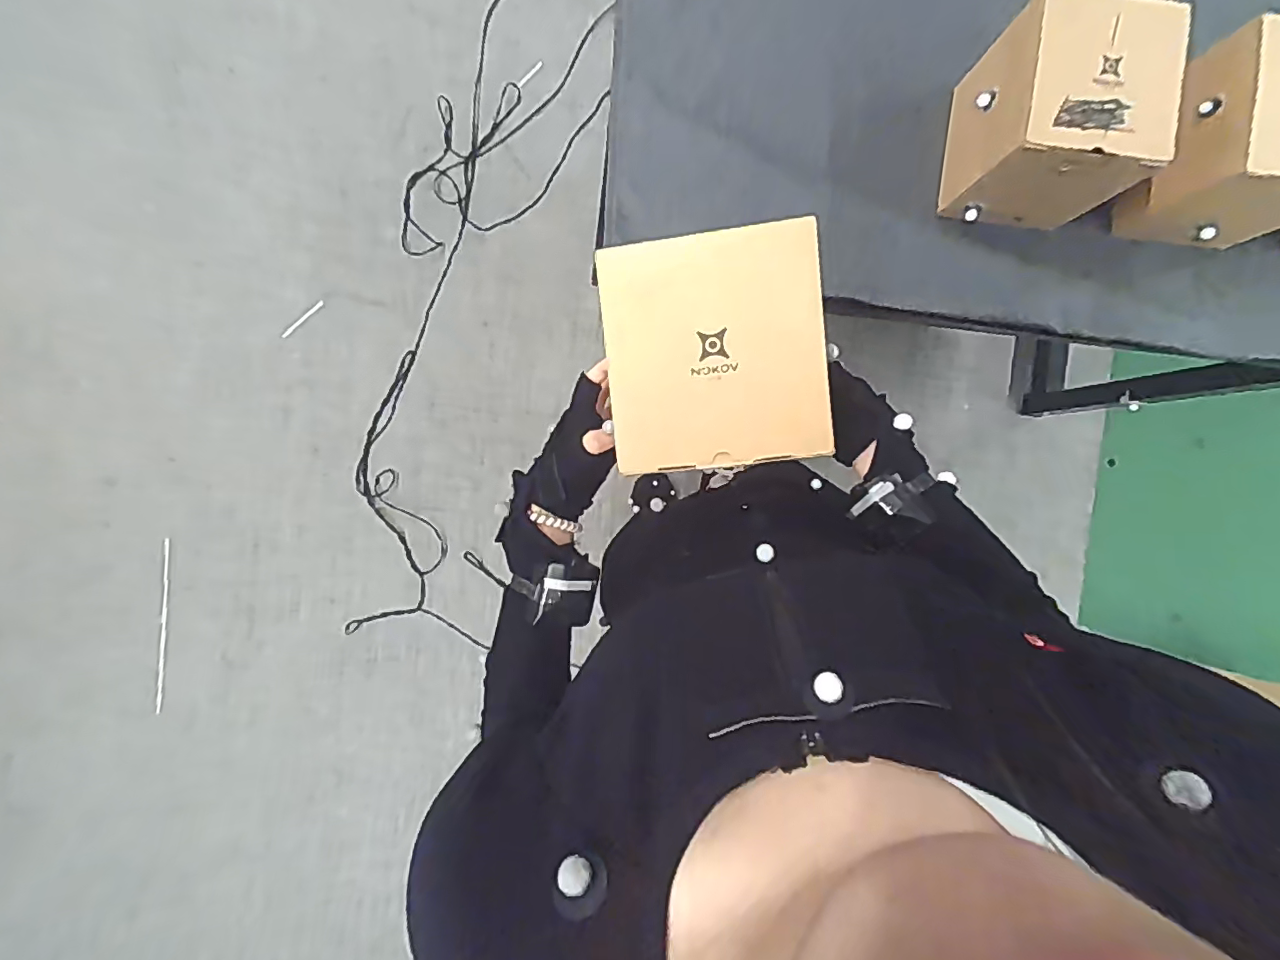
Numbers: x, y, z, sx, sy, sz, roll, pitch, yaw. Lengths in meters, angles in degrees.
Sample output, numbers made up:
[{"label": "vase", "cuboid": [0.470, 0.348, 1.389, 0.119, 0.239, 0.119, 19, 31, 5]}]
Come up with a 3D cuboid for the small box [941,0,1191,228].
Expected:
[{"label": "small box", "cuboid": [0.501, -0.436, 0.663, 0.168, 0.176, 0.179, 7, 90, -2]}]

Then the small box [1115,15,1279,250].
[{"label": "small box", "cuboid": [0.743, -0.412, 0.668, 0.168, 0.176, 0.179, 5, 91, -1]}]

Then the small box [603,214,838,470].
[{"label": "small box", "cuboid": [0.067, -0.107, 0.483, 0.168, 0.176, 0.179, -6, 95, 7]}]
